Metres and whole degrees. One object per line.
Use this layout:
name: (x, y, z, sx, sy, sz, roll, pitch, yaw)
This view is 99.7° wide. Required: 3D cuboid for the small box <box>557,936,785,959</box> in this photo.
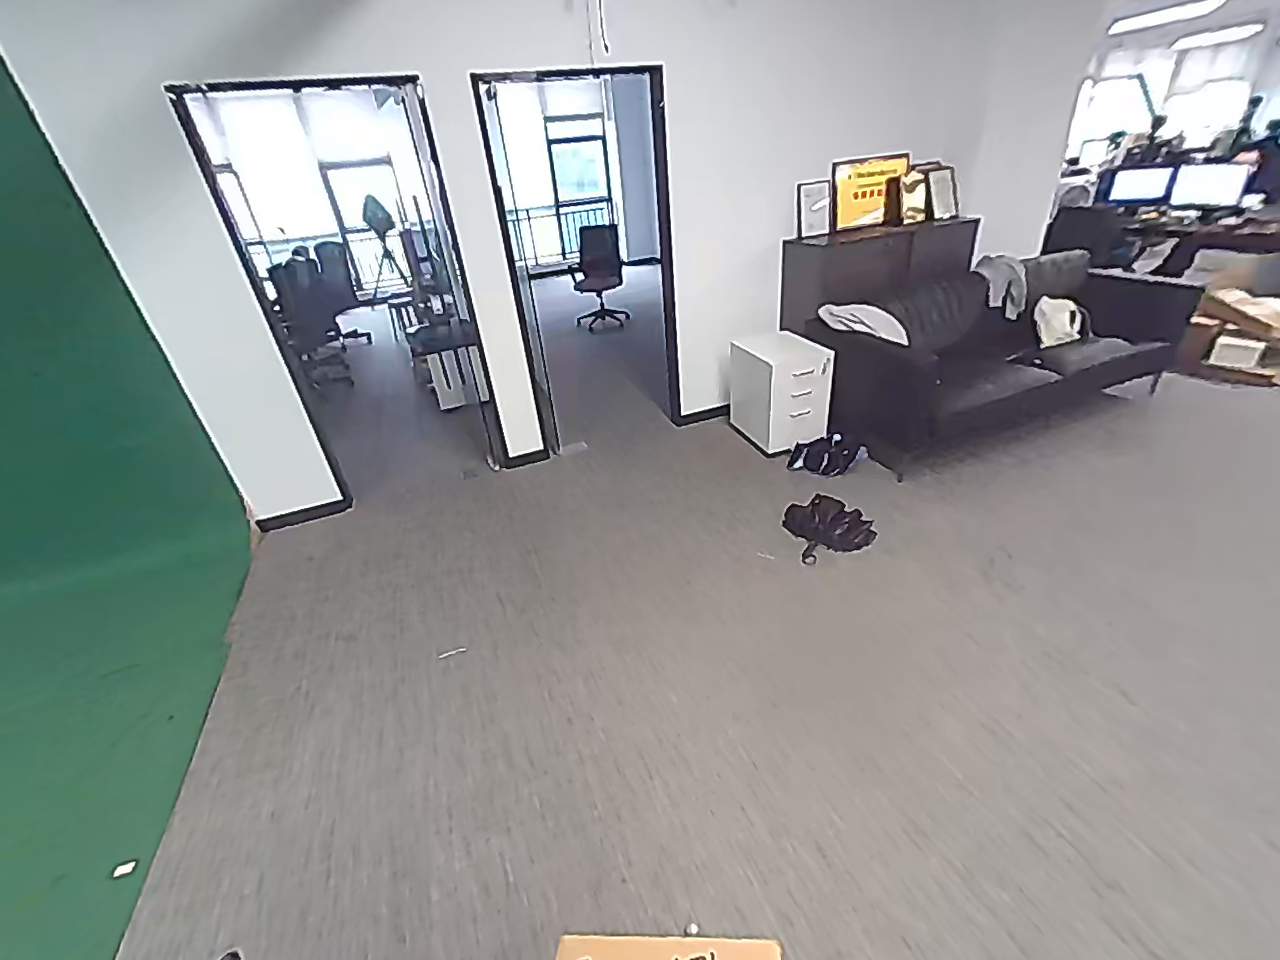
small box: (0.025, 0.449, 0.368, 0.168, 0.176, 0.179, -2, 35, 5)
